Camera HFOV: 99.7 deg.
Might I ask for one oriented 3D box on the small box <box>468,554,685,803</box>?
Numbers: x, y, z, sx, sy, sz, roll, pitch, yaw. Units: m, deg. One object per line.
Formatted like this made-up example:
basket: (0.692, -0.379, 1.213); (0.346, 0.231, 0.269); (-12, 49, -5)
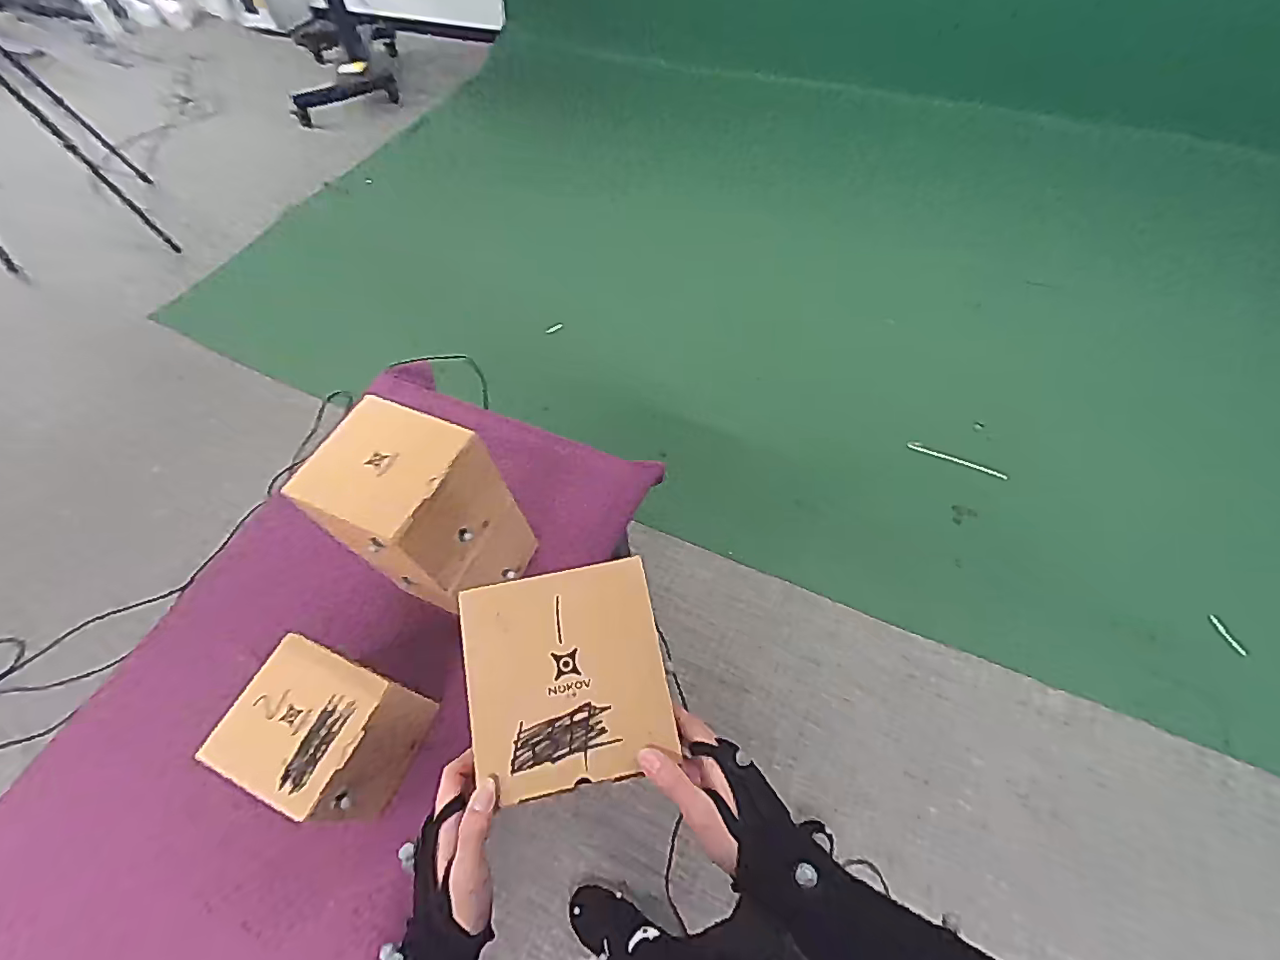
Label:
small box: (-0.058, 0.185, 0.530); (0.168, 0.176, 0.179); (-10, 71, -5)

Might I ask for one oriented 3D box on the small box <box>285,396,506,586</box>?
small box: (-0.310, 0.020, 0.726); (0.179, 0.176, 0.168); (19, 61, 15)

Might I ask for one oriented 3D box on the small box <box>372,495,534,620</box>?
small box: (-0.297, 0.106, 0.864); (0.179, 0.176, 0.168); (20, 62, 16)
